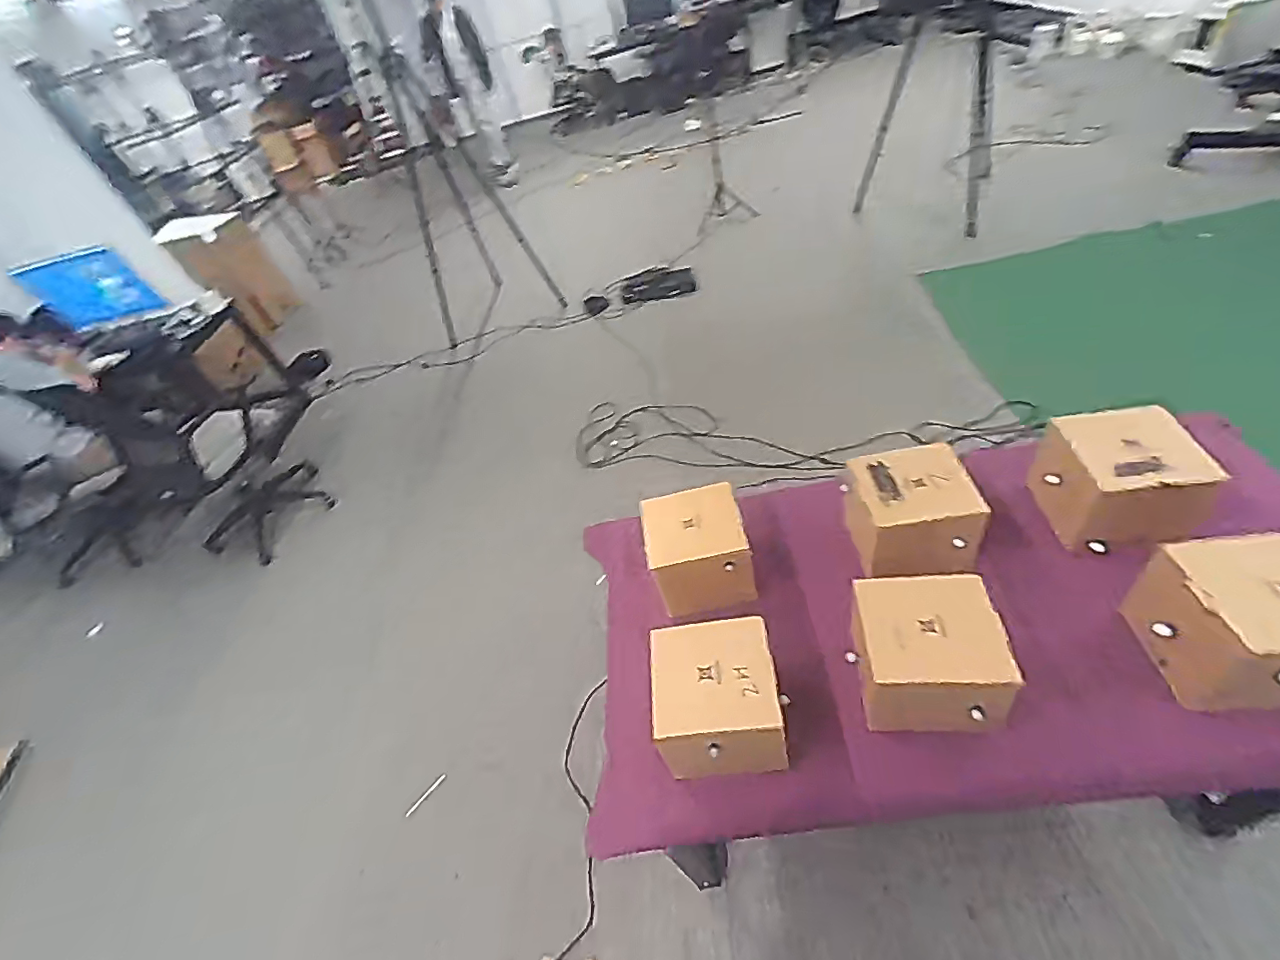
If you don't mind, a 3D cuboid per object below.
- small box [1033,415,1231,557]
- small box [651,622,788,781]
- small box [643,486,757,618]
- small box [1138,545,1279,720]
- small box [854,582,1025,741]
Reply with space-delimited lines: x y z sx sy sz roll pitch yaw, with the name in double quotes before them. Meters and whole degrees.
"small box" 0.809 0.017 0.915 0.168 0.176 0.179 -6 44 13
"small box" 0.119 0.338 0.815 0.179 0.176 0.168 -9 43 9
"small box" 0.114 0.141 1.021 0.179 0.176 0.168 -12 44 5
"small box" 0.818 0.206 0.719 0.179 0.176 0.168 -7 43 13
"small box" 0.420 0.267 0.793 0.179 0.176 0.168 -5 44 15
